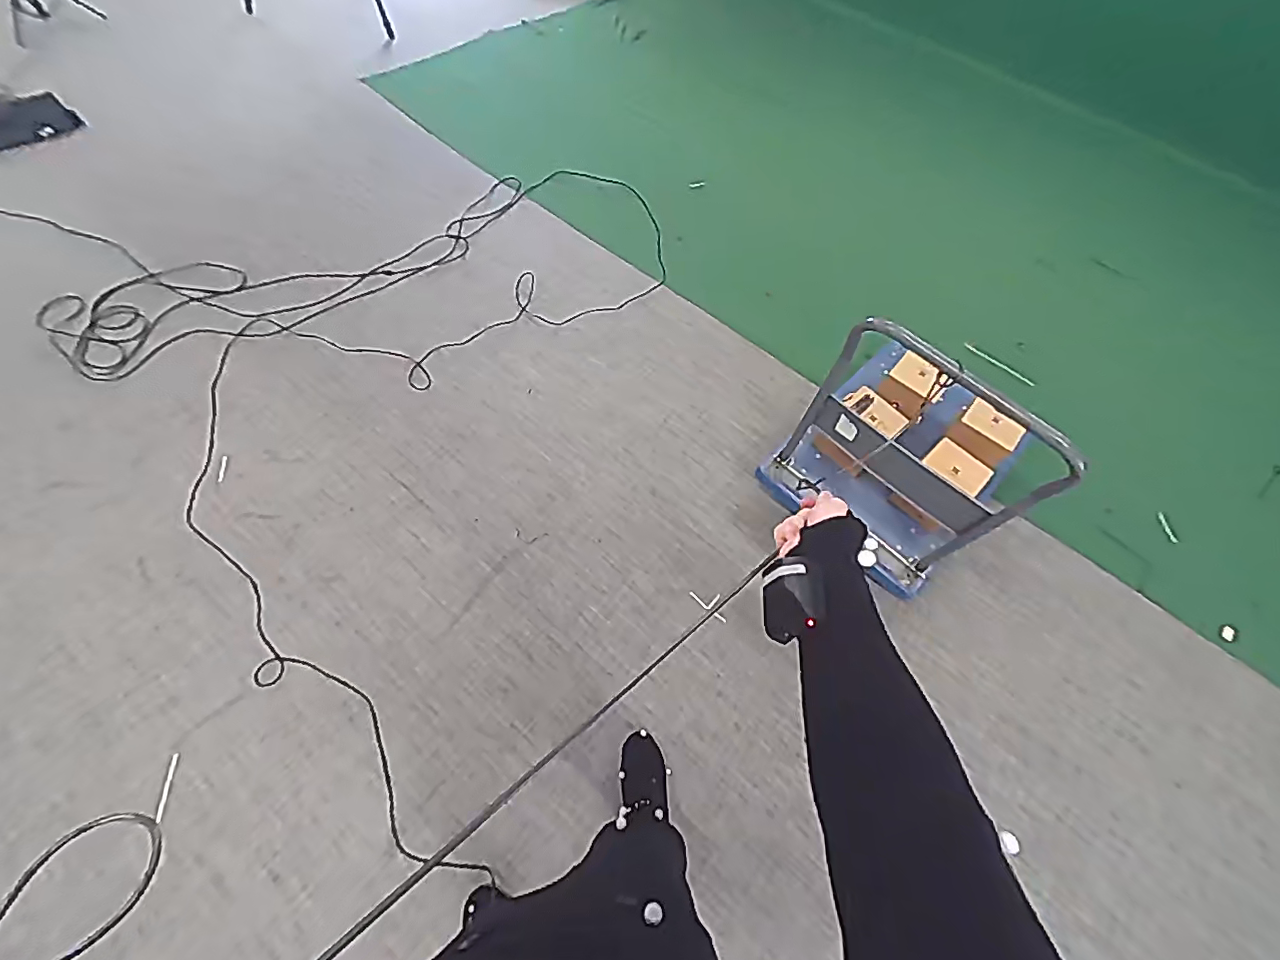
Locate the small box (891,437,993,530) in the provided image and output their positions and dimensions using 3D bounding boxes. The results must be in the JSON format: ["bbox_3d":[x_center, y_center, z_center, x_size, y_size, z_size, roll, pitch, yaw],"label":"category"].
[{"bbox_3d":[0.882,0.014,1.598,0.179,0.176,0.168,-39,71,-23],"label":"small box"}]

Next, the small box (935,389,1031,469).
[{"bbox_3d":[1.073,-0.146,1.704,0.168,0.176,0.179,39,65,17],"label":"small box"}]

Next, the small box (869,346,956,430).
[{"bbox_3d":[0.883,-0.297,1.772,0.168,0.176,0.179,39,64,15],"label":"small box"}]
